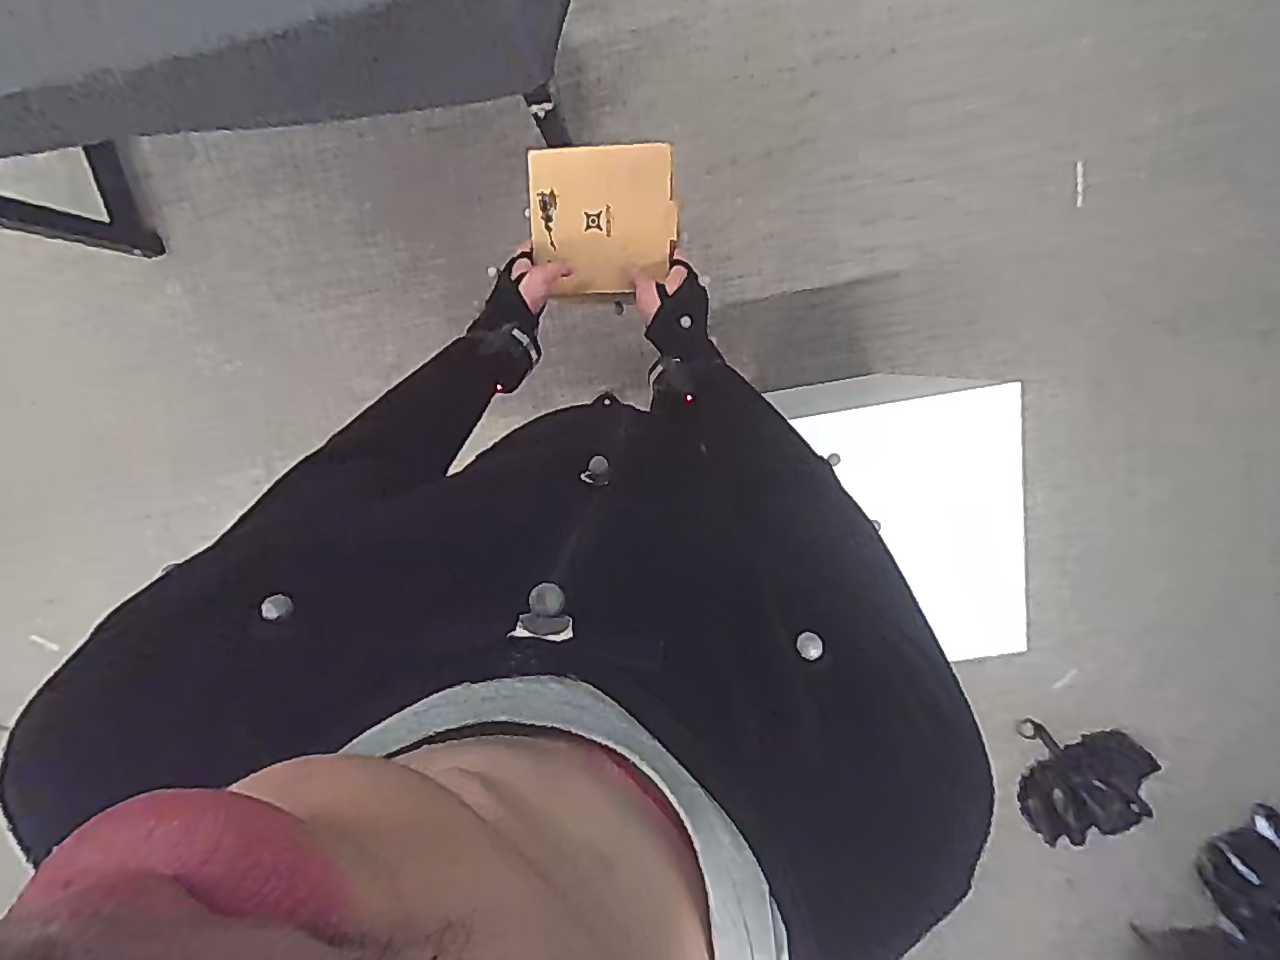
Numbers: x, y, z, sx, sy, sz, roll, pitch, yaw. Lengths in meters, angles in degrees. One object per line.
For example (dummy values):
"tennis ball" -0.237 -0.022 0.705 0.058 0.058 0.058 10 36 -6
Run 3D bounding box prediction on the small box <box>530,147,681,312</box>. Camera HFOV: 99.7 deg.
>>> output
"small box" -0.036 -0.316 0.712 0.179 0.176 0.168 0 102 4
